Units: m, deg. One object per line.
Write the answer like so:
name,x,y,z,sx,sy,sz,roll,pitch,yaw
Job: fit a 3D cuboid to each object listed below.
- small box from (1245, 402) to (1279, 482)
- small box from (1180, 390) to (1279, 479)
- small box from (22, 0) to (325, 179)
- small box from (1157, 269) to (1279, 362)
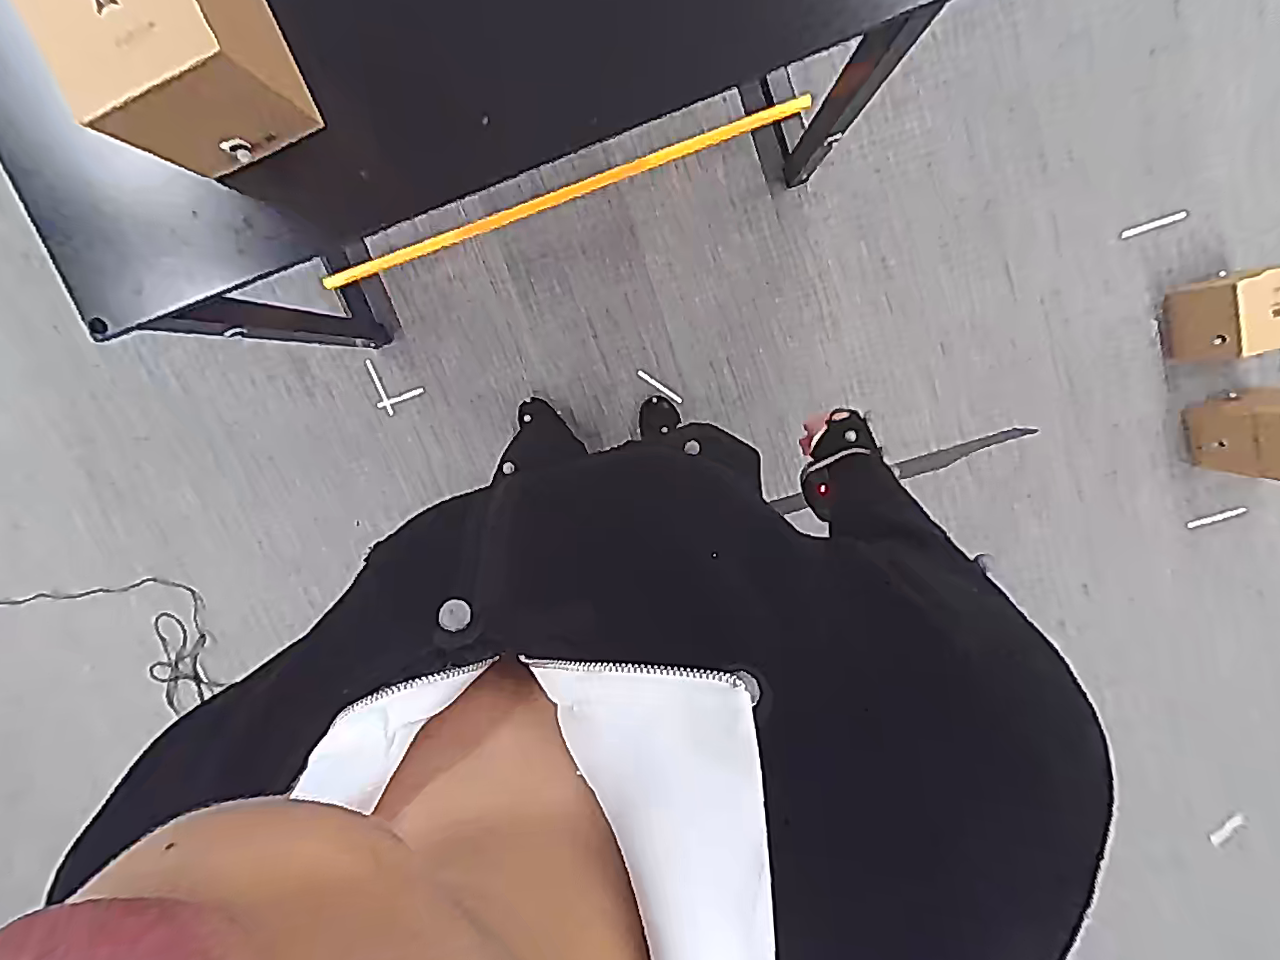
small box,1.508,-0.091,1.192,0.168,0.176,0.179,-21,101,5
small box,1.517,-0.119,1.356,0.179,0.176,0.168,-21,100,6
small box,-0.496,-0.471,0.590,0.168,0.176,0.179,-22,100,6
small box,1.408,-0.392,1.301,0.168,0.176,0.179,-17,100,4
